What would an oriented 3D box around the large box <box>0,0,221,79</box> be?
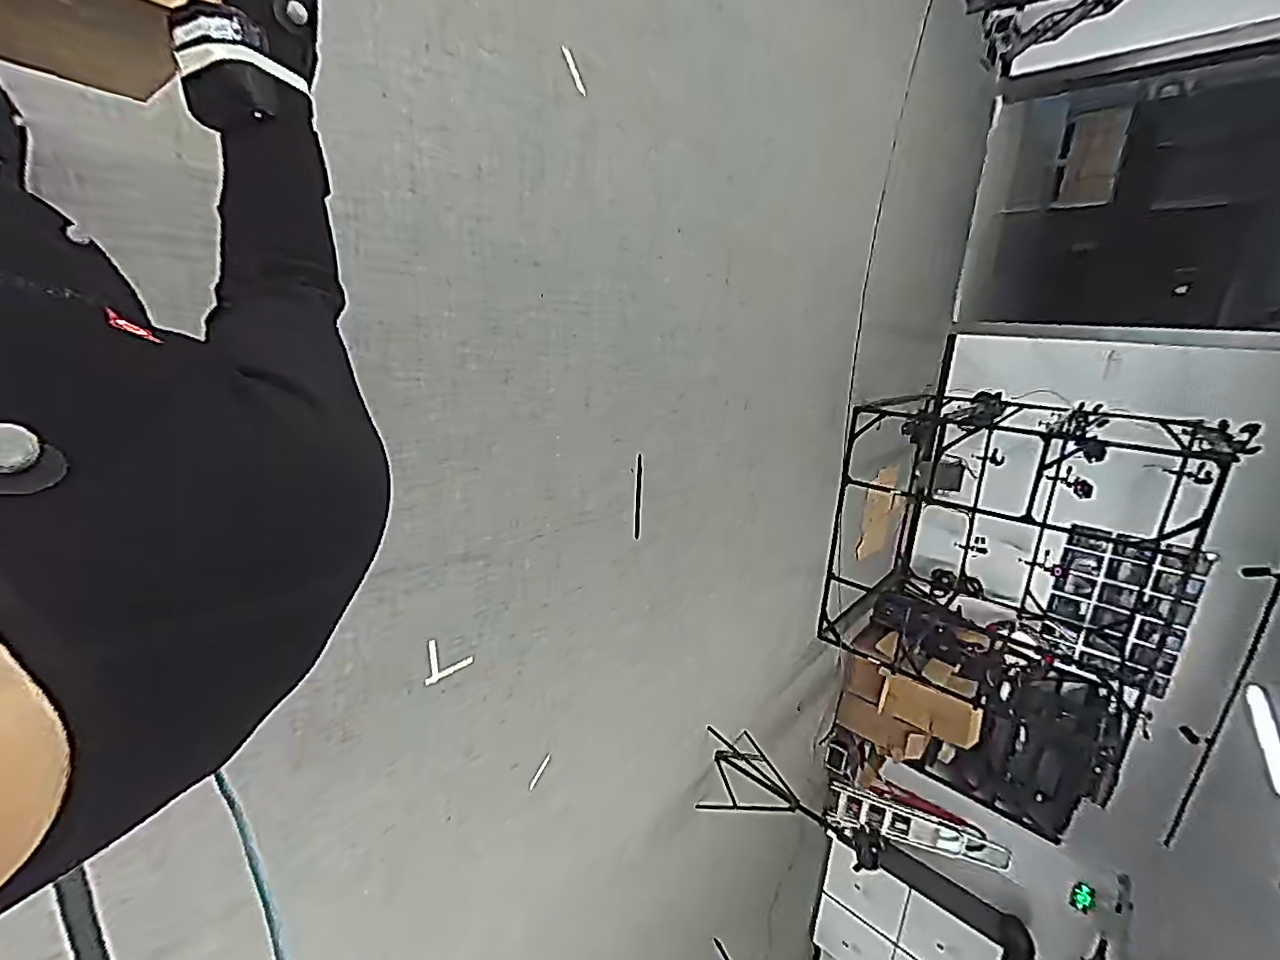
[{"bbox_3d":[-0.534,-0.499,0.297,0.408,0.320,0.320,-12,116,-49],"label":"large box"}]
